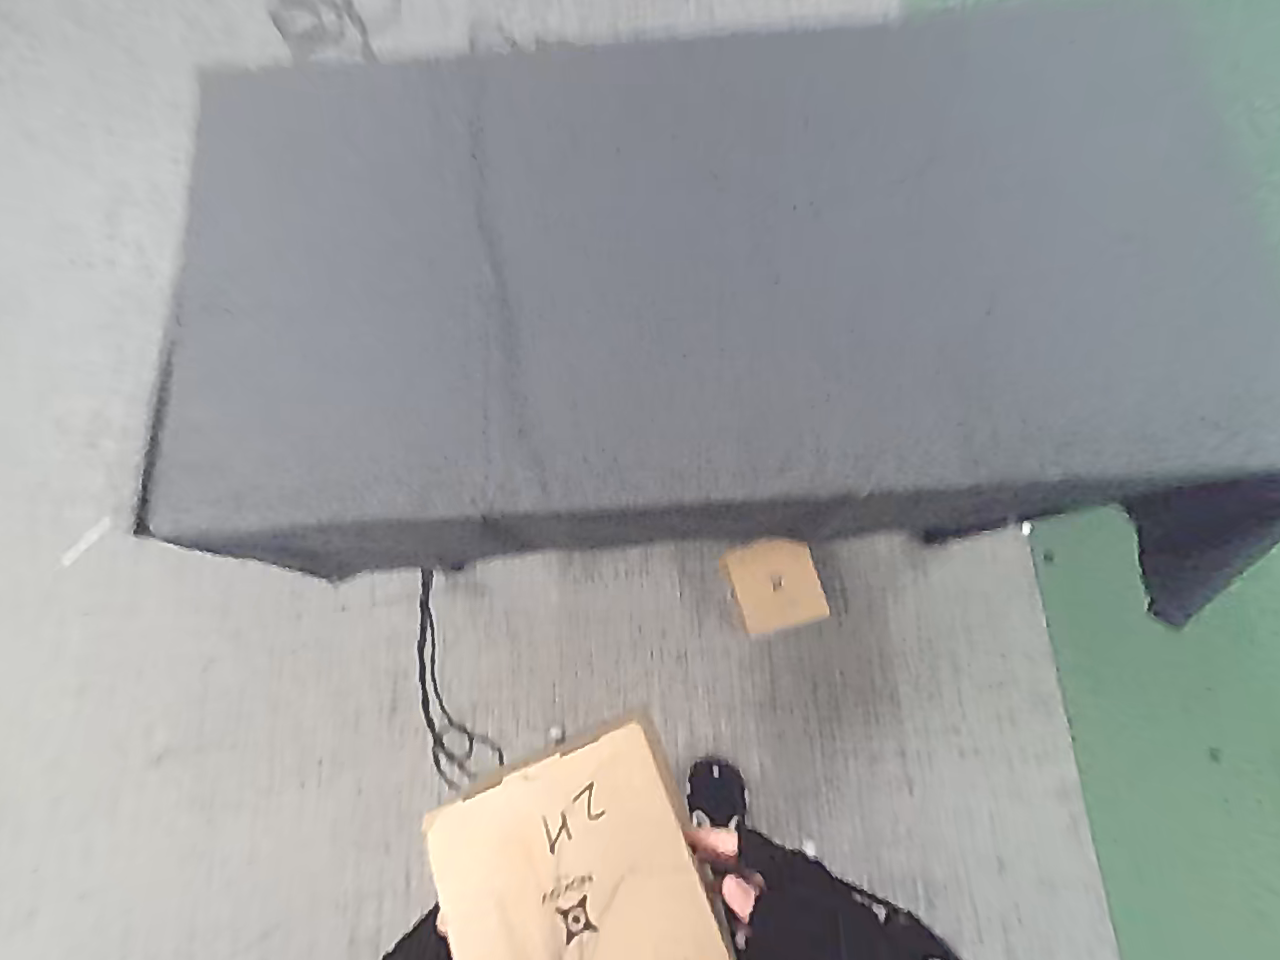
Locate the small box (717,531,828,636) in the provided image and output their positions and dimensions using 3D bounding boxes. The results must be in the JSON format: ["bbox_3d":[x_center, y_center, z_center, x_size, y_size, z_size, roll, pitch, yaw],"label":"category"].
[{"bbox_3d":[0.268,0.224,1.142,0.168,0.176,0.179,-15,75,-1],"label":"small box"}]
